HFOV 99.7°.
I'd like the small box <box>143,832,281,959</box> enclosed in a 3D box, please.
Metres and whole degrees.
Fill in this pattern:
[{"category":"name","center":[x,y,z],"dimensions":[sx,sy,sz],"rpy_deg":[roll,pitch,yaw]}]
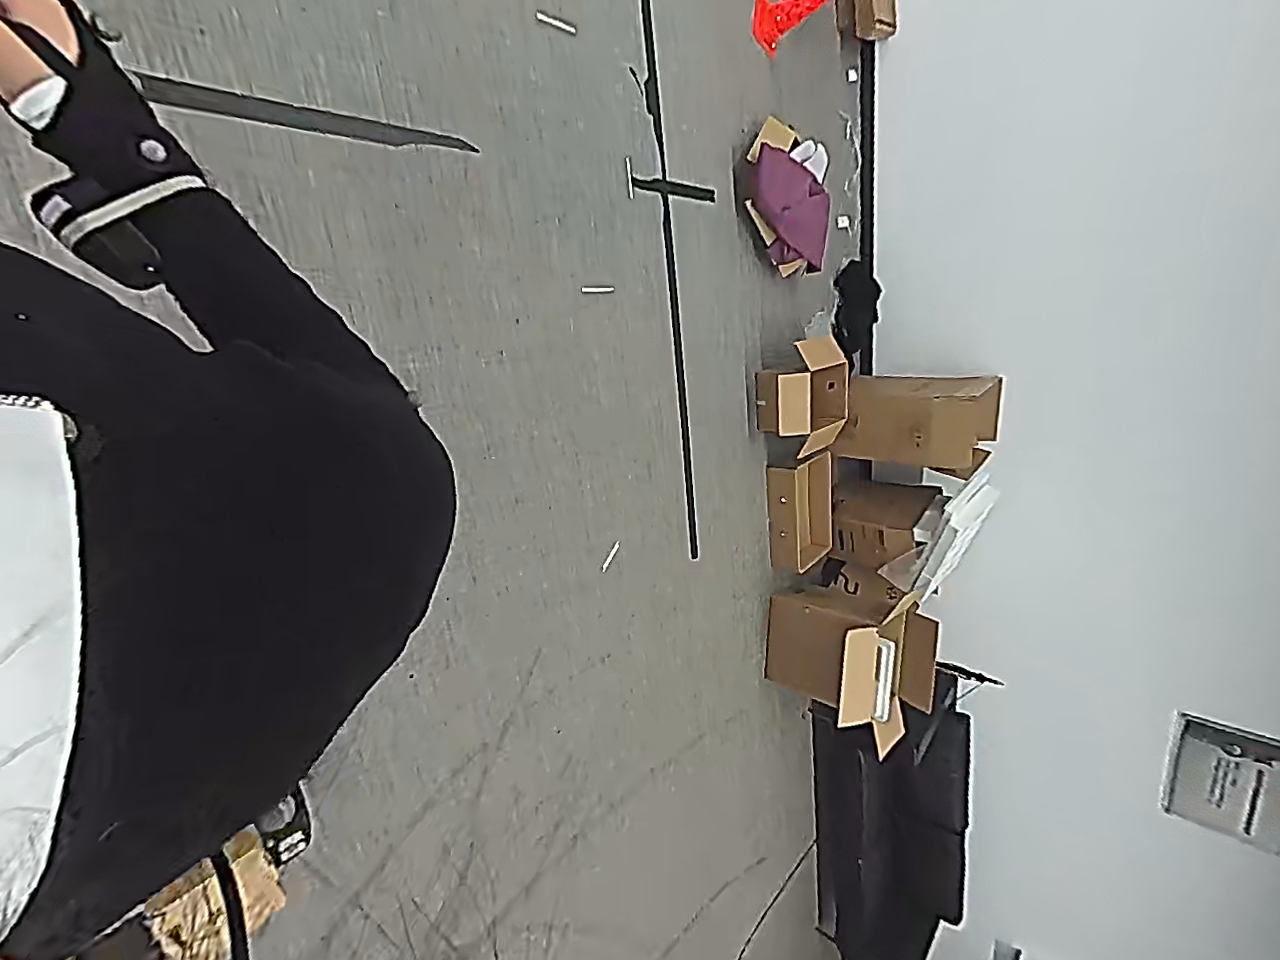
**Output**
[{"category":"small box","center":[-0.848,0.787,1.075],"dimensions":[0.179,0.176,0.168],"rpy_deg":[-26,115,-42]}]

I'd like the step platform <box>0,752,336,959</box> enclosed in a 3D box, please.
[{"category":"step platform","center":[-0.934,0.804,0.933],"dimensions":[0.684,0.204,0.286],"rpy_deg":[-23,113,-42]}]
